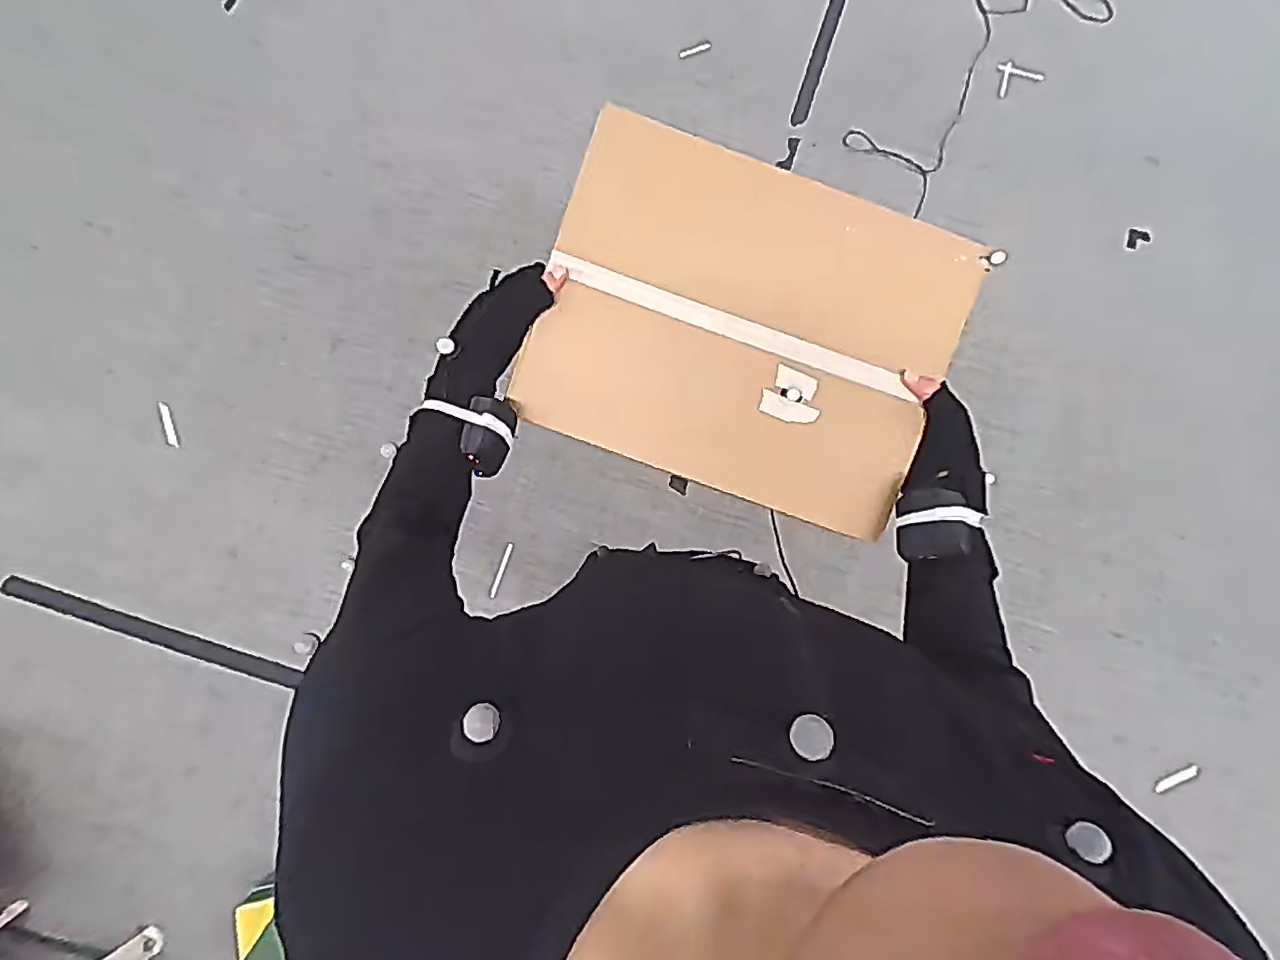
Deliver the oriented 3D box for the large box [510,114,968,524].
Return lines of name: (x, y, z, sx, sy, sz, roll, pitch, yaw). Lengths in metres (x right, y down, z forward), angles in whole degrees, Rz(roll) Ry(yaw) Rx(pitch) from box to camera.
large box: (0.094, -0.168, 0.696, 0.408, 0.320, 0.320, 19, 95, -3)
